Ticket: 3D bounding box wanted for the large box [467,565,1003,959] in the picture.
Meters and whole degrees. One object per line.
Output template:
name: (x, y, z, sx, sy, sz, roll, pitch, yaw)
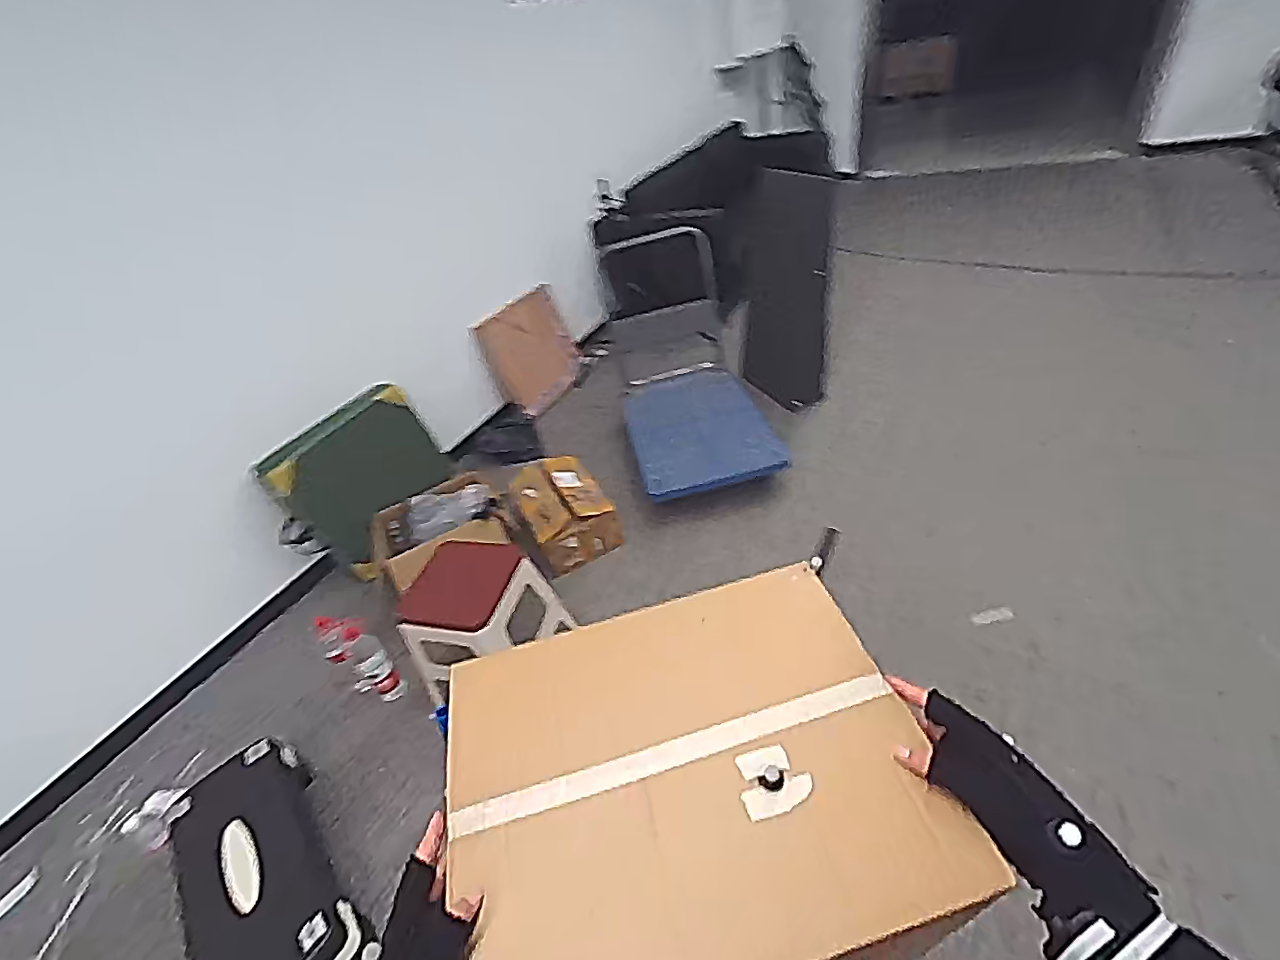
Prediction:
large box: (0.059, 0.351, 0.581, 0.408, 0.320, 0.320, -14, 42, -5)
